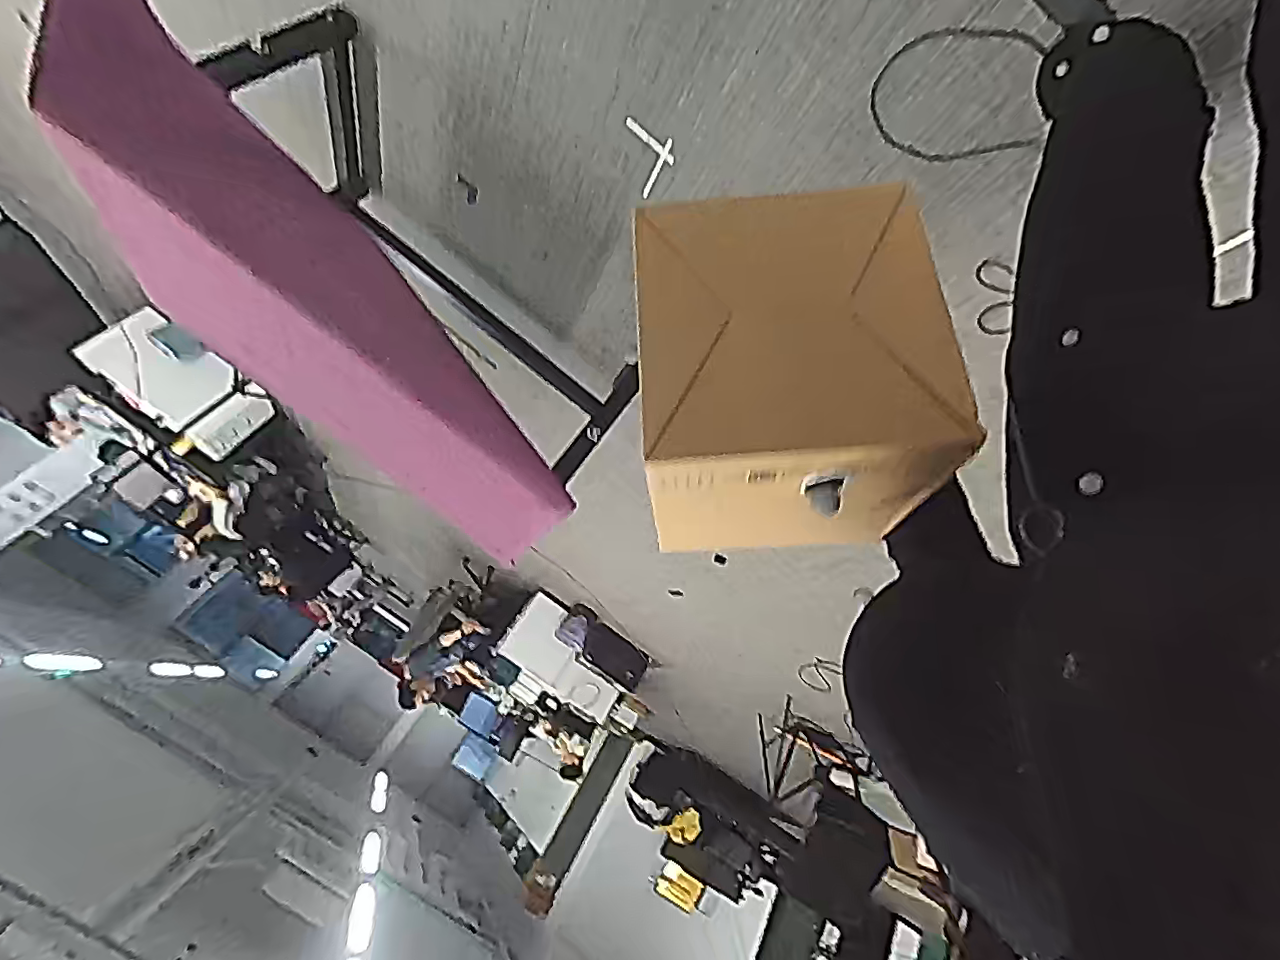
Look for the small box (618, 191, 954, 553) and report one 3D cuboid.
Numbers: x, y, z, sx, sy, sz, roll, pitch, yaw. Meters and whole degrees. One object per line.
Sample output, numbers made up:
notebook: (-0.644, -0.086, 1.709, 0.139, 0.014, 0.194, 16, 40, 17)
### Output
small box: (0.080, -0.060, 0.364, 0.168, 0.179, 0.176, -4, 156, 7)
